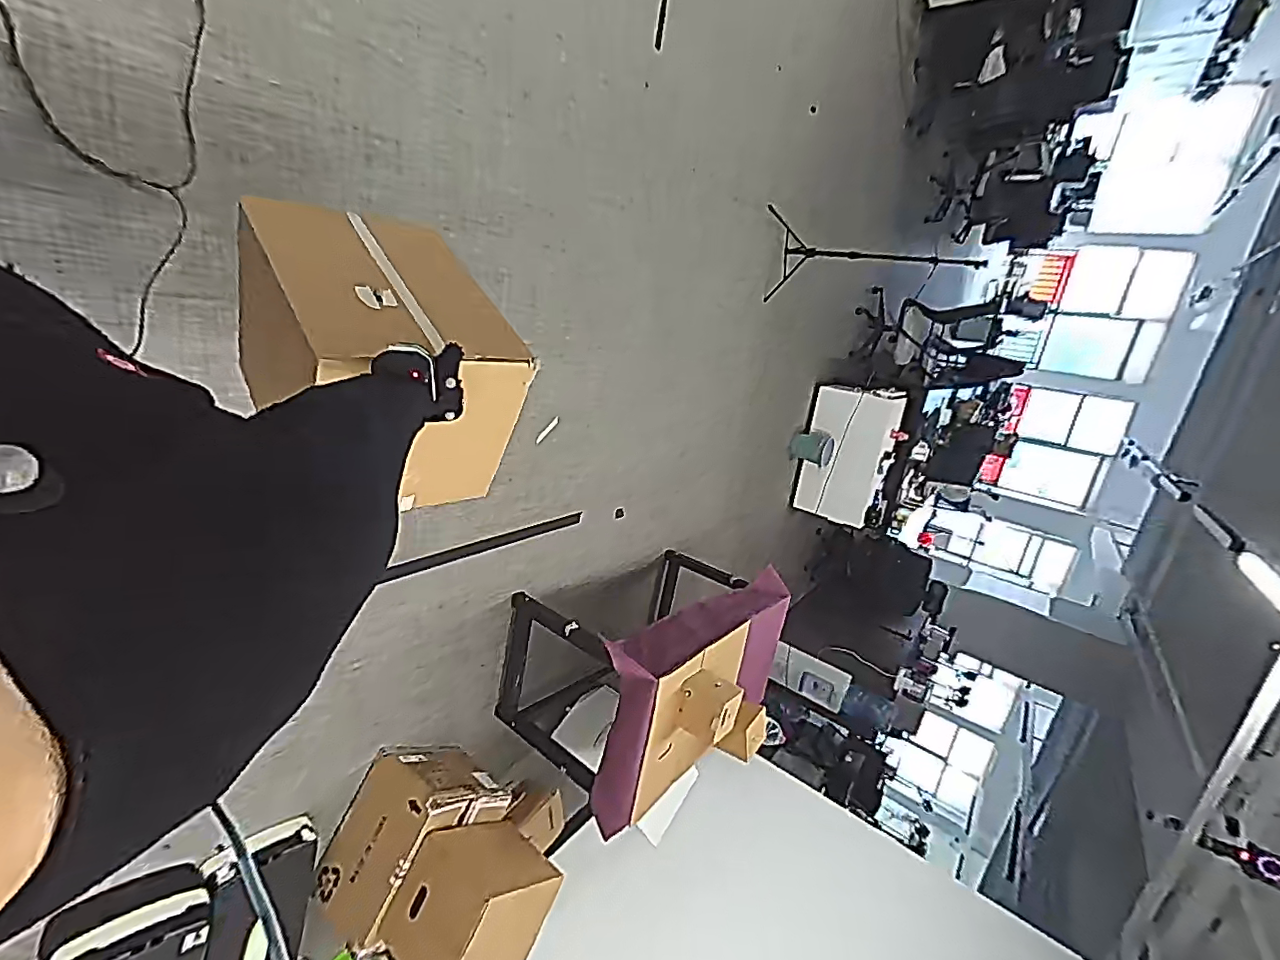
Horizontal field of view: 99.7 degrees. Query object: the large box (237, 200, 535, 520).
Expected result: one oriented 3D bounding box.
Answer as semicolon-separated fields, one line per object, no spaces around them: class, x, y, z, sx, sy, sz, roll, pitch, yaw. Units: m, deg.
large box;-0.452;-0.200;0.925;0.320;0.408;0.320;-12;146;-44
